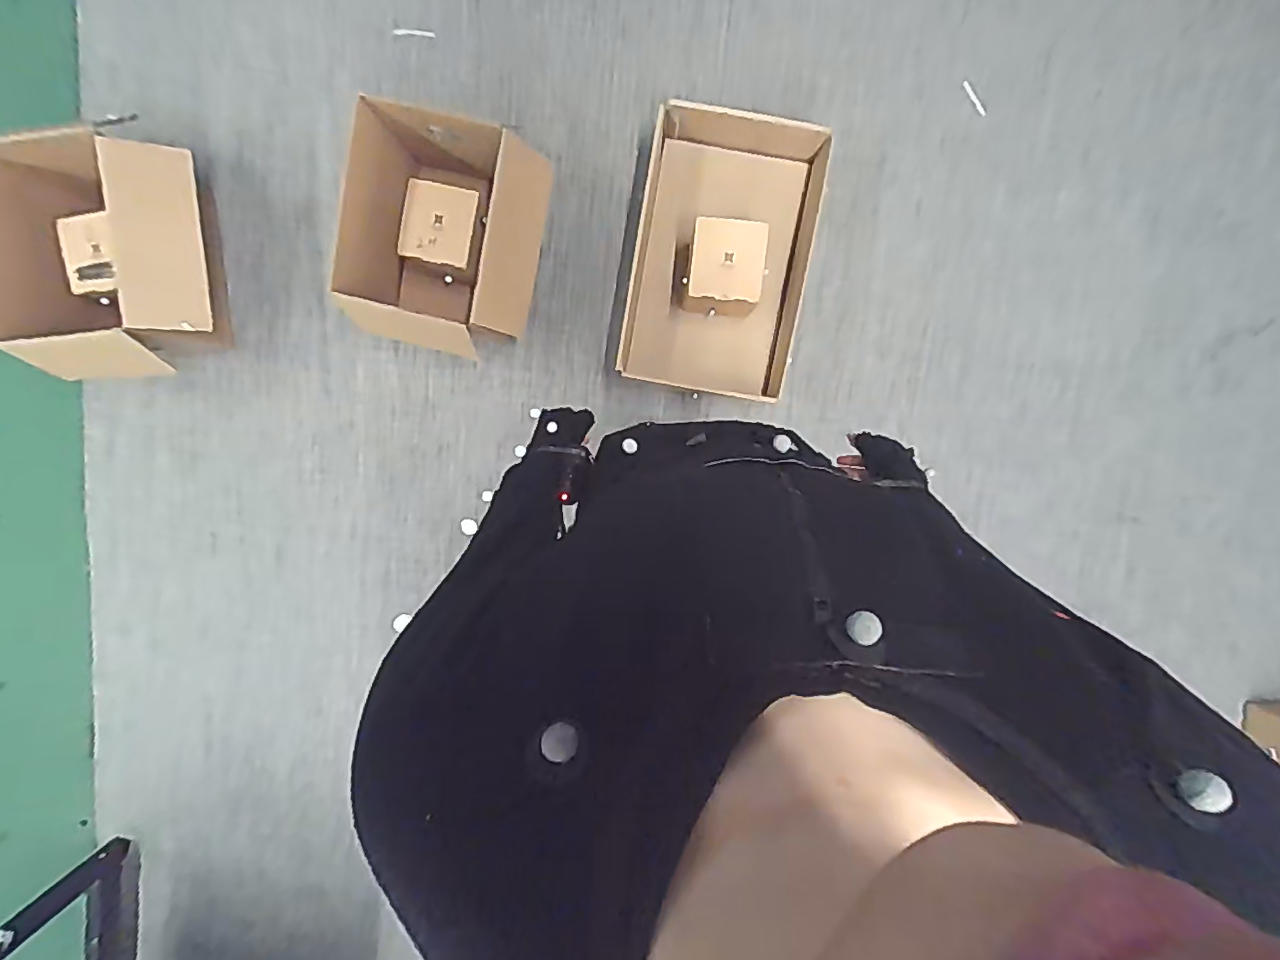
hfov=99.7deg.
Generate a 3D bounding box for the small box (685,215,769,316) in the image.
[{"bbox_3d":[0.198,-0.502,1.282,0.168,0.176,0.179,5,96,1],"label":"small box"}]
